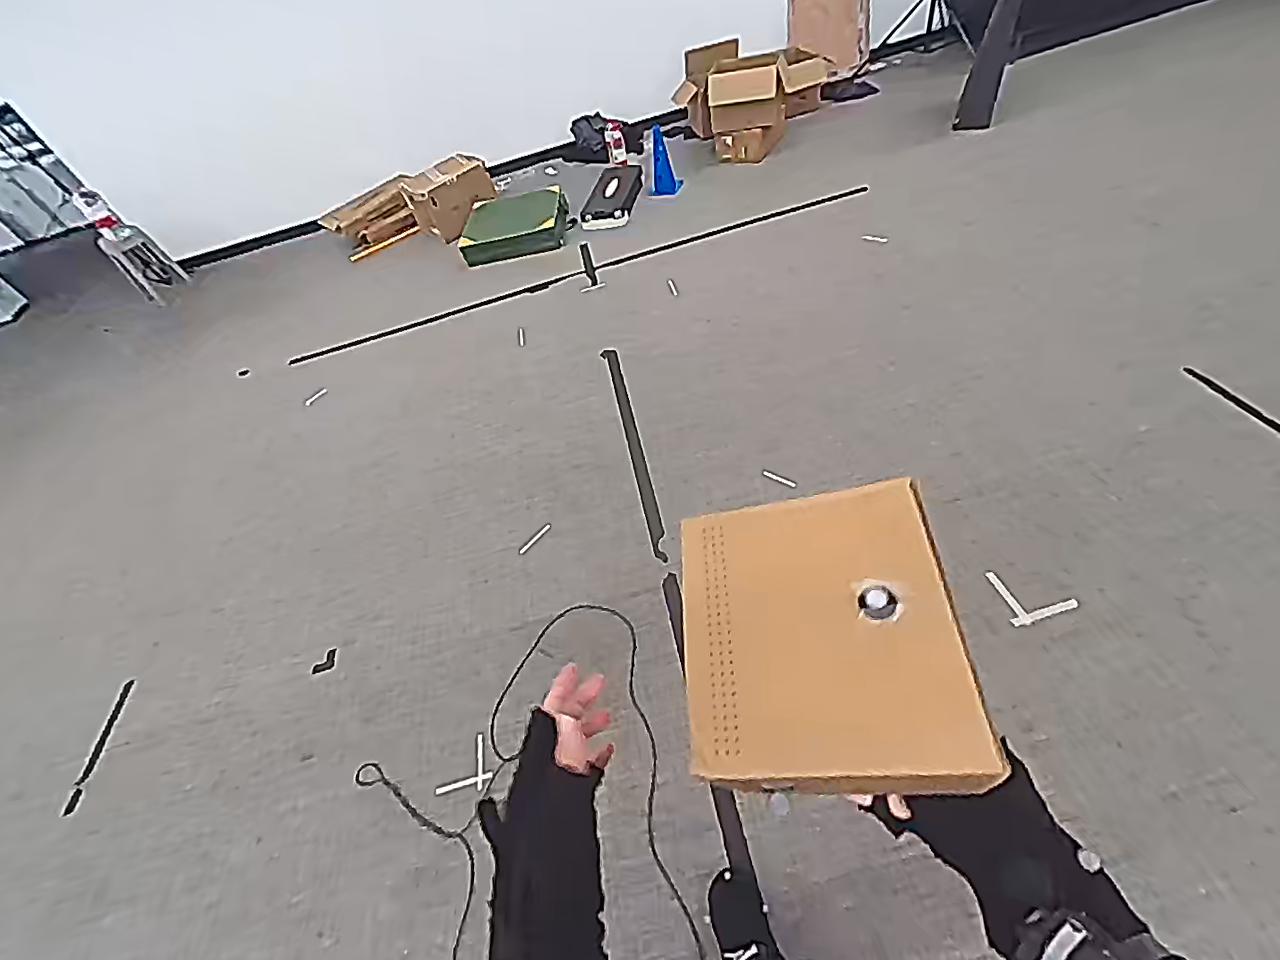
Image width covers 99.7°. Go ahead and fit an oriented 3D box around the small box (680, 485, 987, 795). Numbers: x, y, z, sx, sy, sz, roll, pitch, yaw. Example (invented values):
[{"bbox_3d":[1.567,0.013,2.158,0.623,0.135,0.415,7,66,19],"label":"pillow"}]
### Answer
[{"bbox_3d":[0.132,0.131,0.410,0.176,0.168,0.179,-13,54,20],"label":"small box"}]
